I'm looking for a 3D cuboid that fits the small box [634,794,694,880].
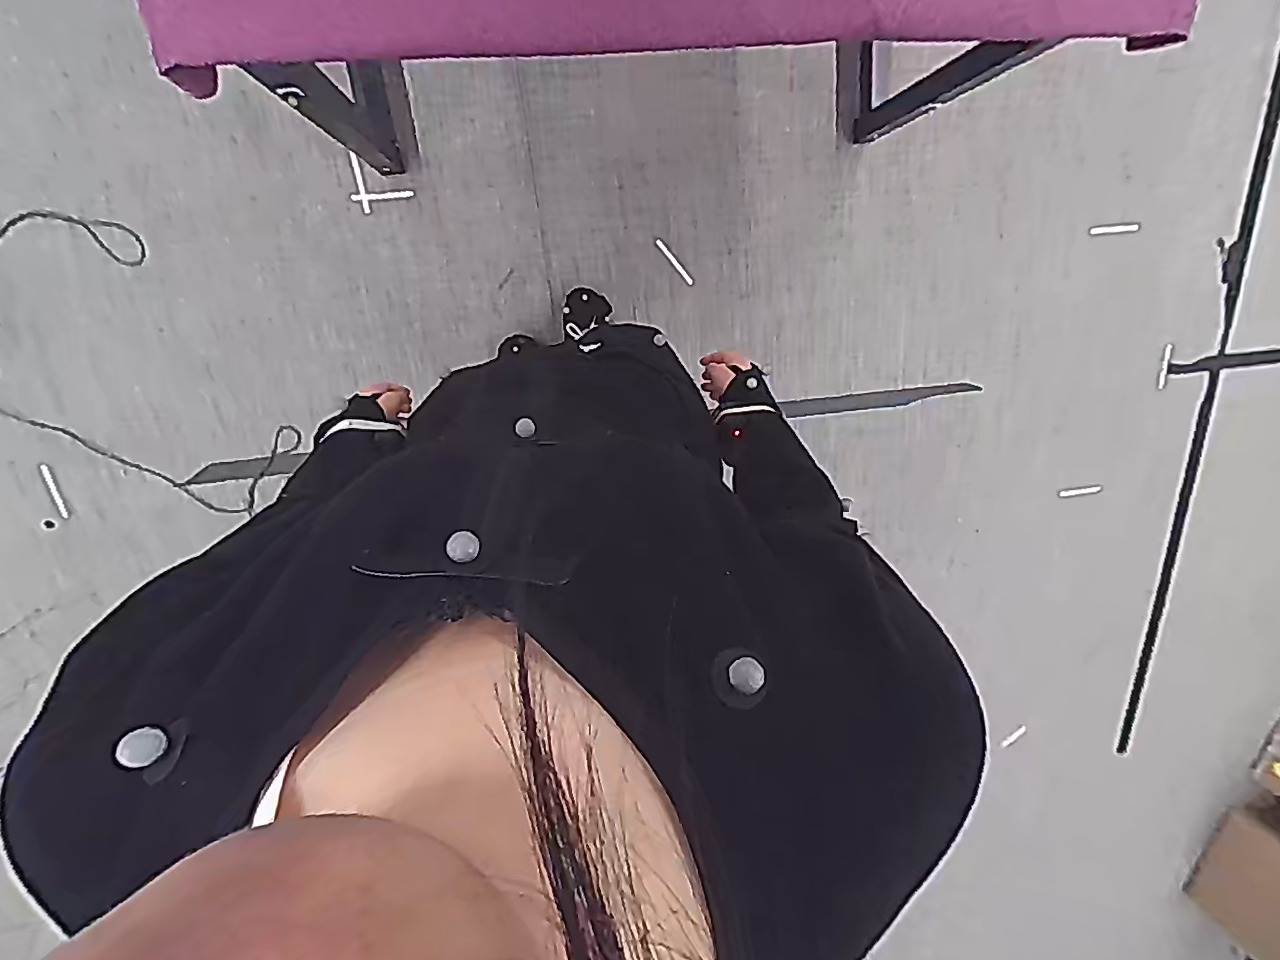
[{"bbox_3d":[0.078,1.217,1.862,0.168,0.176,0.179,-11,109,-5],"label":"small box"}]
